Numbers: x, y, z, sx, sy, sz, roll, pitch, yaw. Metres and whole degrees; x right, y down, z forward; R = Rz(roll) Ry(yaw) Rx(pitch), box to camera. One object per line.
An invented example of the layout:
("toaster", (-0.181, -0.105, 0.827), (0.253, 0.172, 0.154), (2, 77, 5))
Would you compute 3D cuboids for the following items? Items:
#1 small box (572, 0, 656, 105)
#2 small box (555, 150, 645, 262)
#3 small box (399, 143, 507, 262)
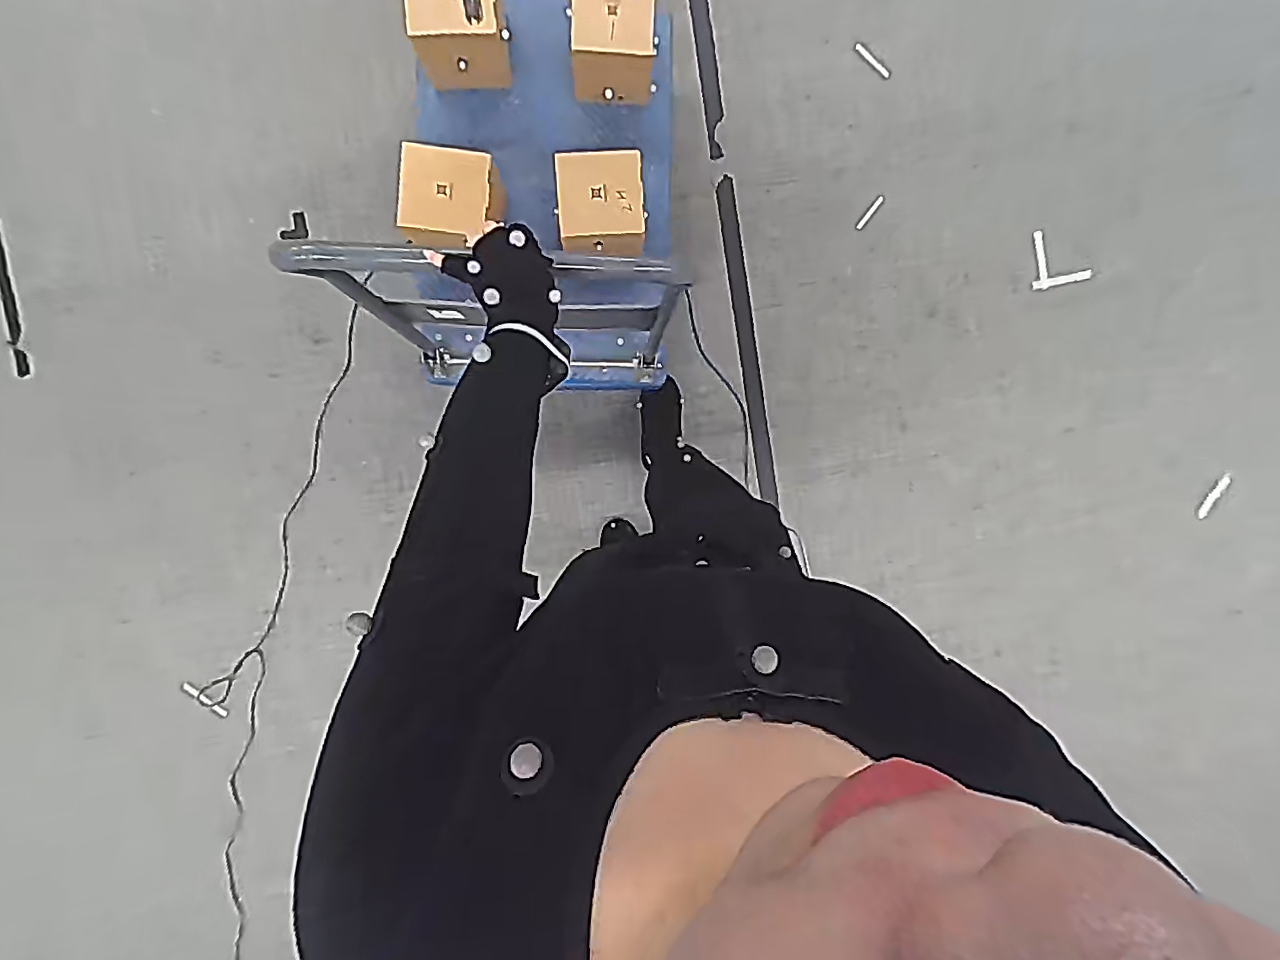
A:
("small box", (-0.056, -0.943, 1.148), (0.168, 0.176, 0.179), (1, 95, -3))
("small box", (-0.082, -0.584, 1.171), (0.179, 0.176, 0.168), (-4, 94, -3))
("small box", (-0.391, -0.581, 1.153), (0.179, 0.176, 0.168), (5, 93, -5))
